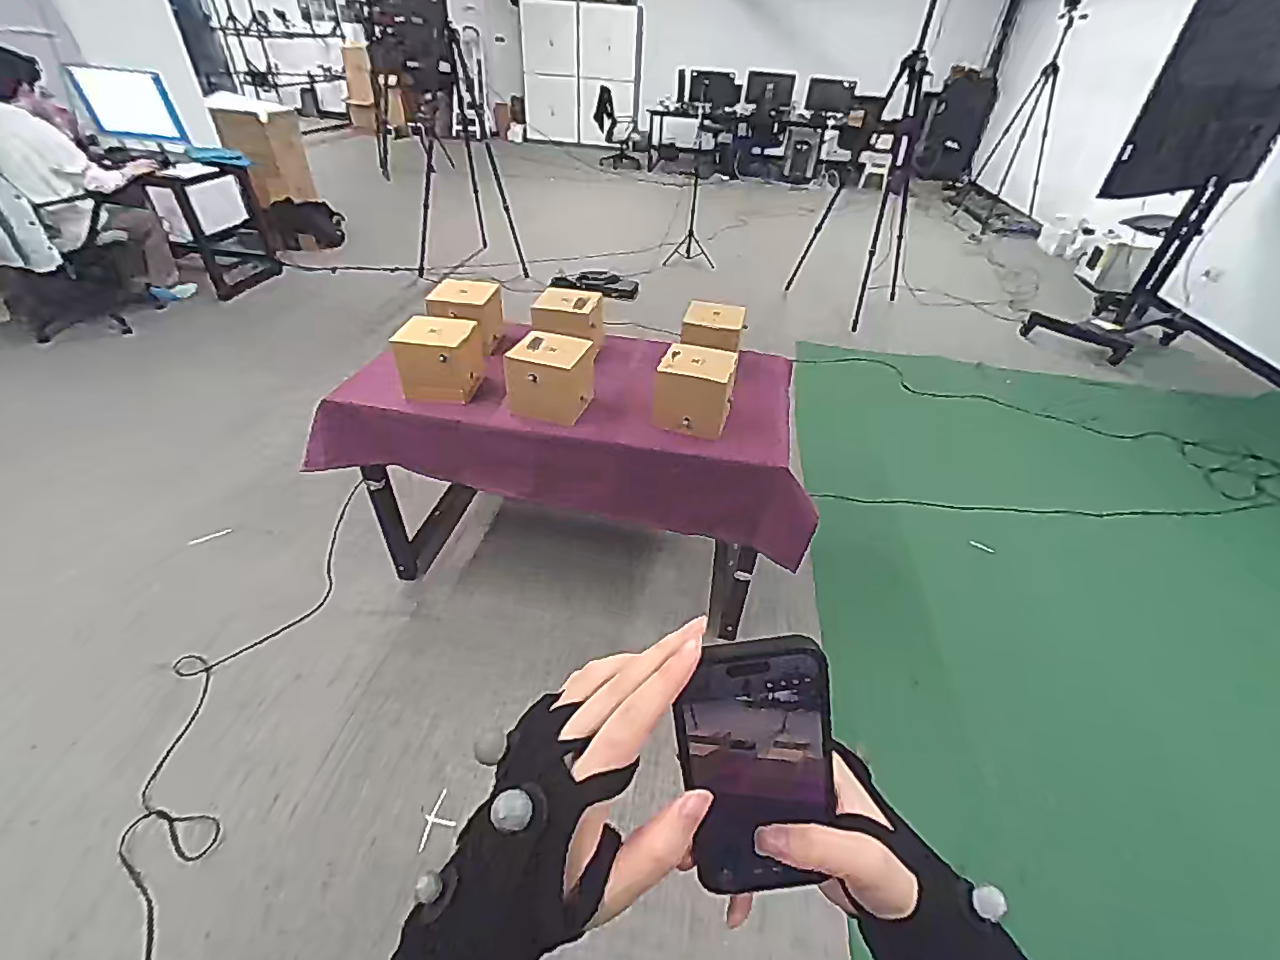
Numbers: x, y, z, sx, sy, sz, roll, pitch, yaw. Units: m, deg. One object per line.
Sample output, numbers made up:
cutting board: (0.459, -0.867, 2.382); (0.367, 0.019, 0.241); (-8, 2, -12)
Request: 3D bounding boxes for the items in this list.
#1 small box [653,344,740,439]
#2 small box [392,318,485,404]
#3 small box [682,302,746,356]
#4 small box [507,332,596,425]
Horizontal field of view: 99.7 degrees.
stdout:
small box: (0.143, -0.225, 1.390); (0.179, 0.176, 0.168); (14, 40, 11)
small box: (-0.530, -0.319, 1.449); (0.179, 0.176, 0.168); (6, 39, 1)
small box: (0.217, -0.415, 1.628); (0.168, 0.176, 0.179); (11, 40, 9)
small box: (-0.225, -0.262, 1.404); (0.179, 0.176, 0.168); (14, 40, 10)
